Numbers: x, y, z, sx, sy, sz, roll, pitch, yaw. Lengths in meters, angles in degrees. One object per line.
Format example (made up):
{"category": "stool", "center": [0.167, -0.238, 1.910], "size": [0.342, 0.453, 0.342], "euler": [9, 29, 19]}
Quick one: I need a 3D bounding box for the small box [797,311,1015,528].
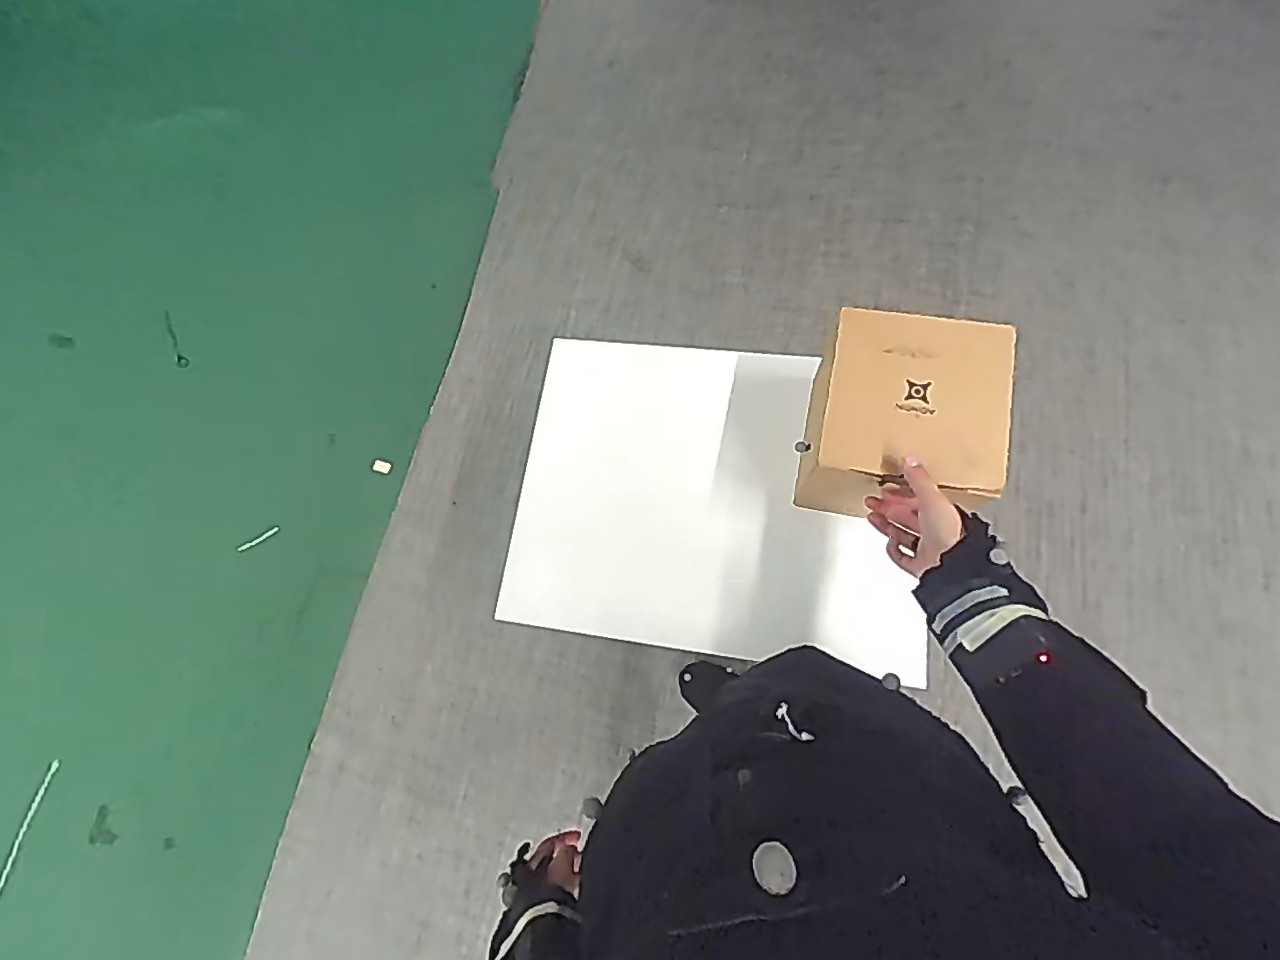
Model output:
{"category": "small box", "center": [0.274, -0.055, 0.592], "size": [0.168, 0.176, 0.179], "euler": [10, 75, 10]}
